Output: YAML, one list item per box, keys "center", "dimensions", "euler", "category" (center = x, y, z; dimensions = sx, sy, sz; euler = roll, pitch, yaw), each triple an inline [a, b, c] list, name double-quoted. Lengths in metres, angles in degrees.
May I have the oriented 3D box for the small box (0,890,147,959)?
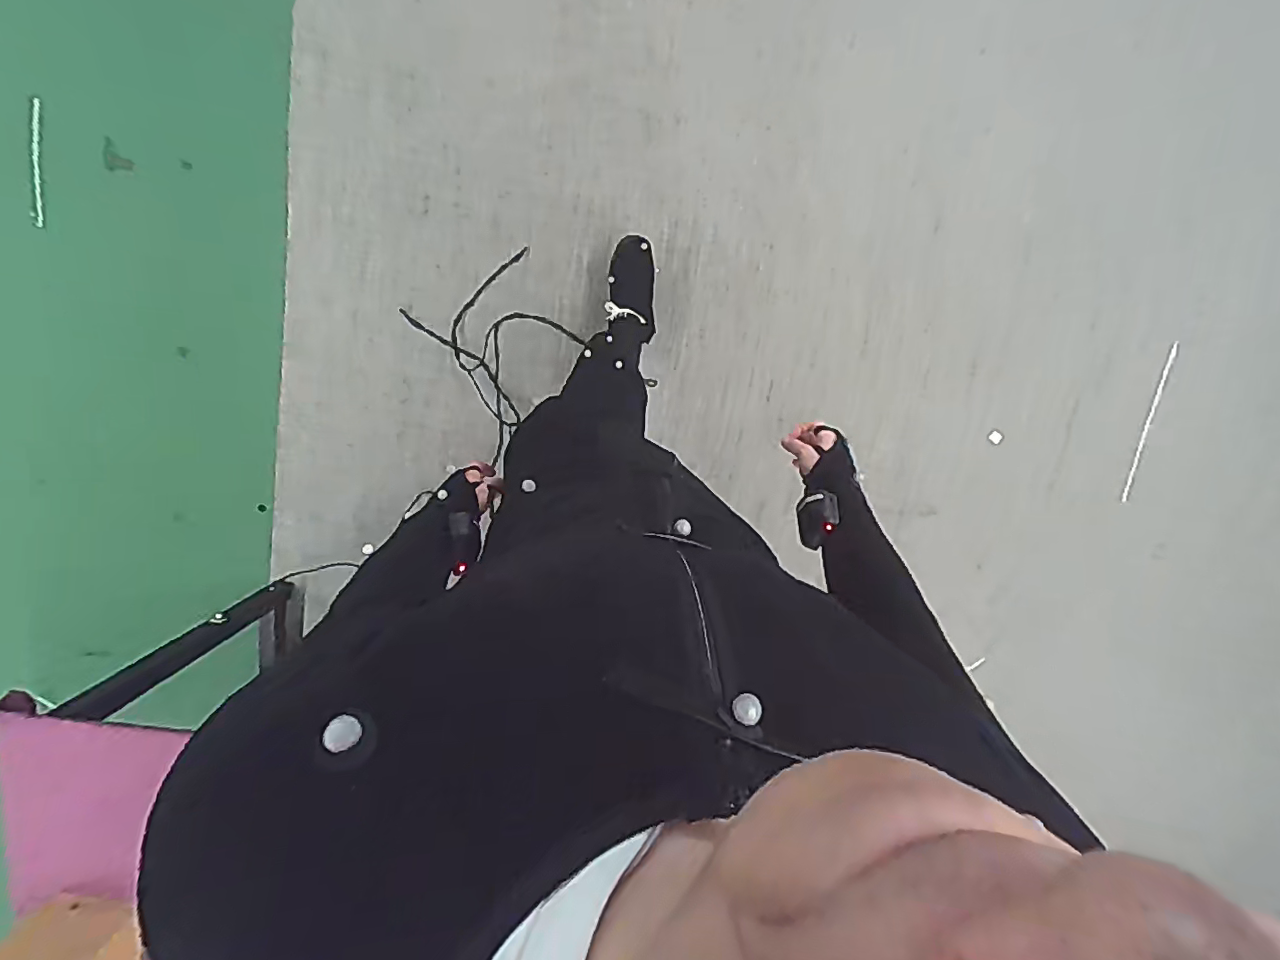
- center: [-1.025, 0.883, 0.955]
  dimensions: [0.168, 0.176, 0.179]
  euler: [10, 101, -3]
  category: "small box"
